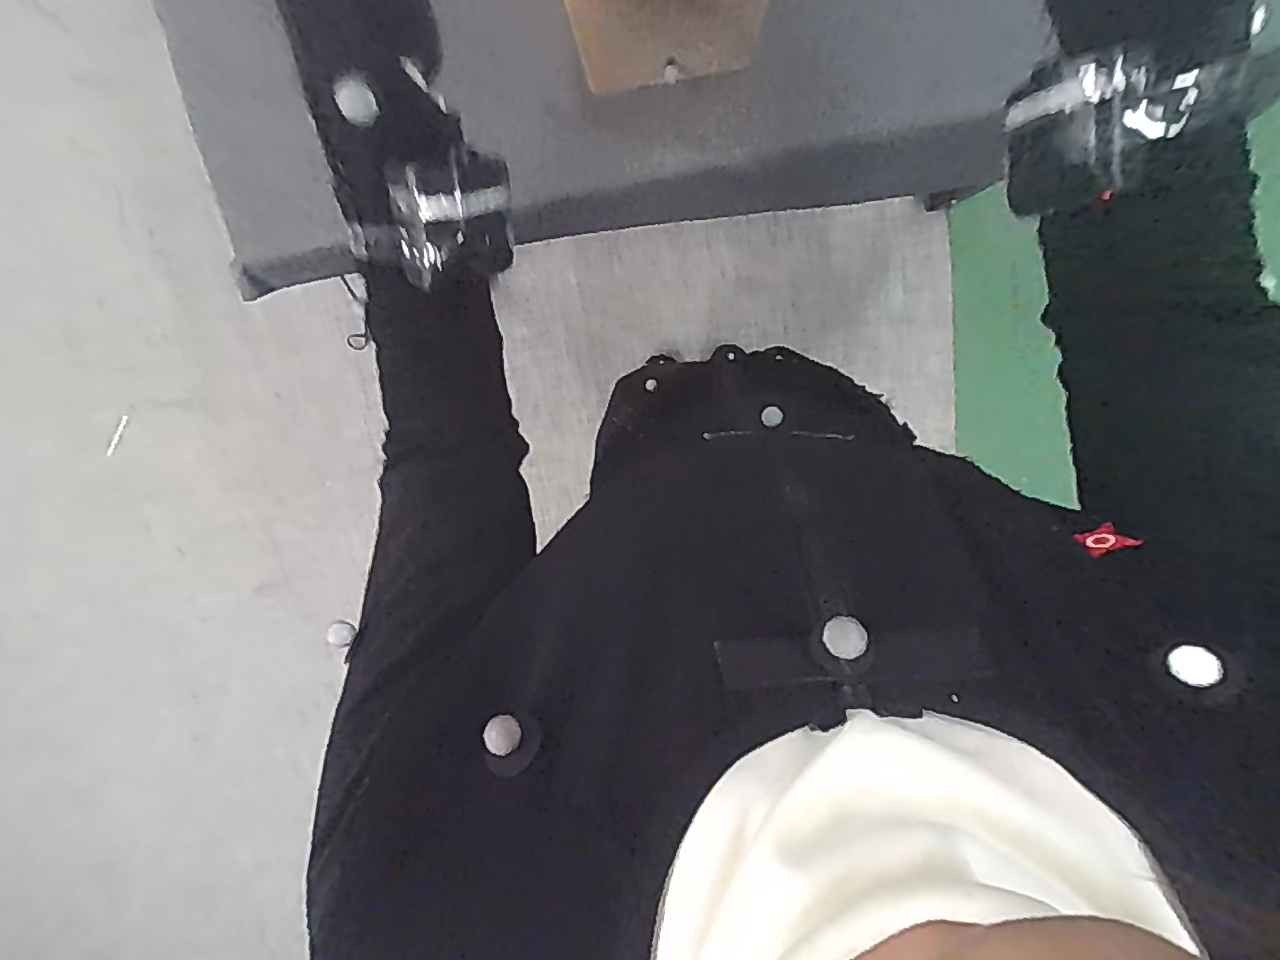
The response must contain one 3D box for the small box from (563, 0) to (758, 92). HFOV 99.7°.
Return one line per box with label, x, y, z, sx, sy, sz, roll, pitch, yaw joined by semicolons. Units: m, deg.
small box;0.014;-0.499;0.500;0.179;0.176;0.168;-7;102;4
